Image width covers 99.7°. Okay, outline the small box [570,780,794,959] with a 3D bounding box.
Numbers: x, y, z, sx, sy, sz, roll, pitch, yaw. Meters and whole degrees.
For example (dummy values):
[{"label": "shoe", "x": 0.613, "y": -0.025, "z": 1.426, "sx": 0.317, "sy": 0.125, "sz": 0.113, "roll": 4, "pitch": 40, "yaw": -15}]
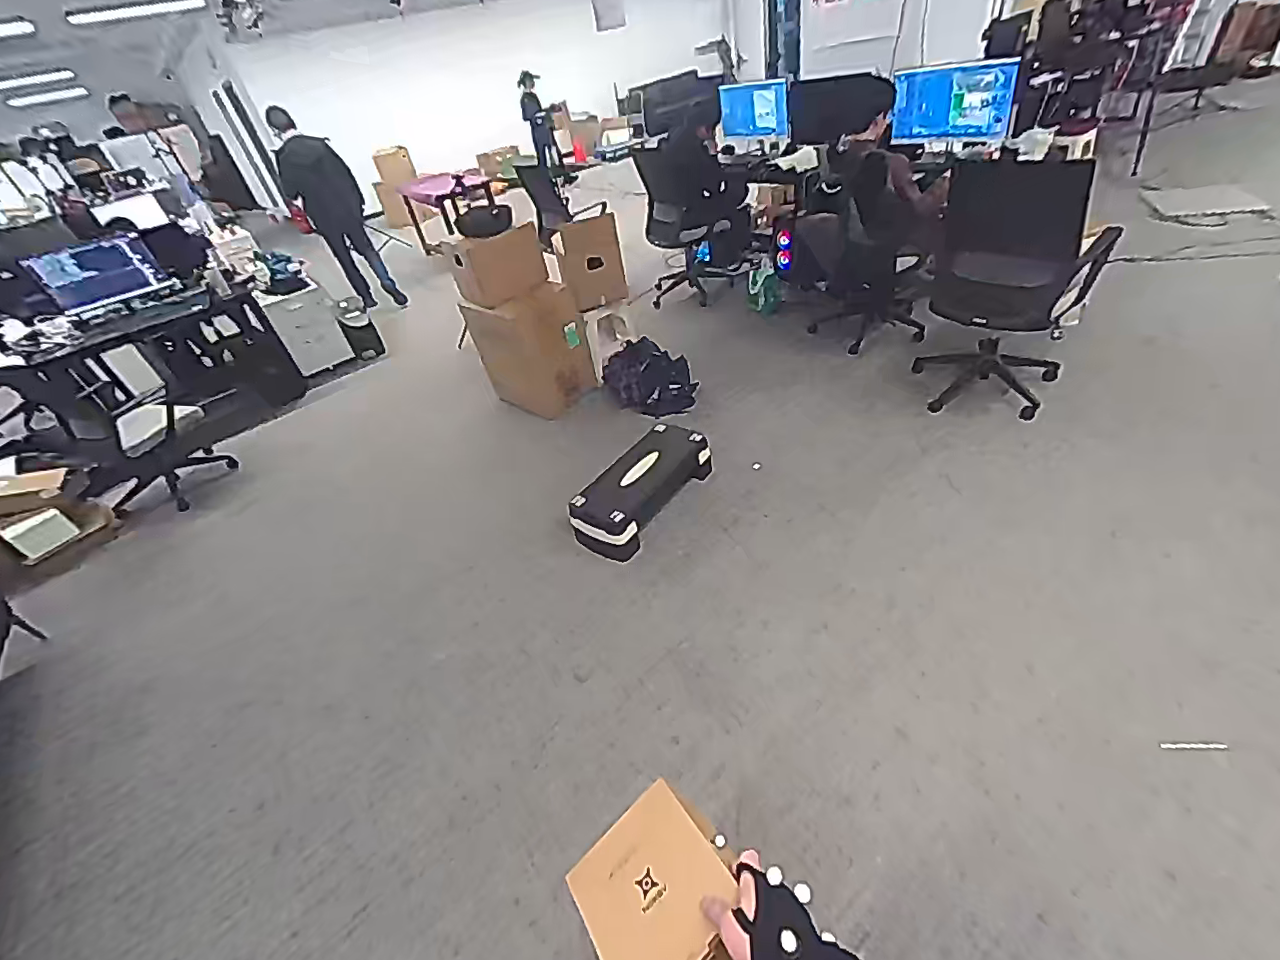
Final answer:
[{"label": "small box", "x": 0.053, "y": 0.514, "z": 0.648, "sx": 0.168, "sy": 0.176, "sz": 0.179, "roll": -42, "pitch": 32, "yaw": -13}]
